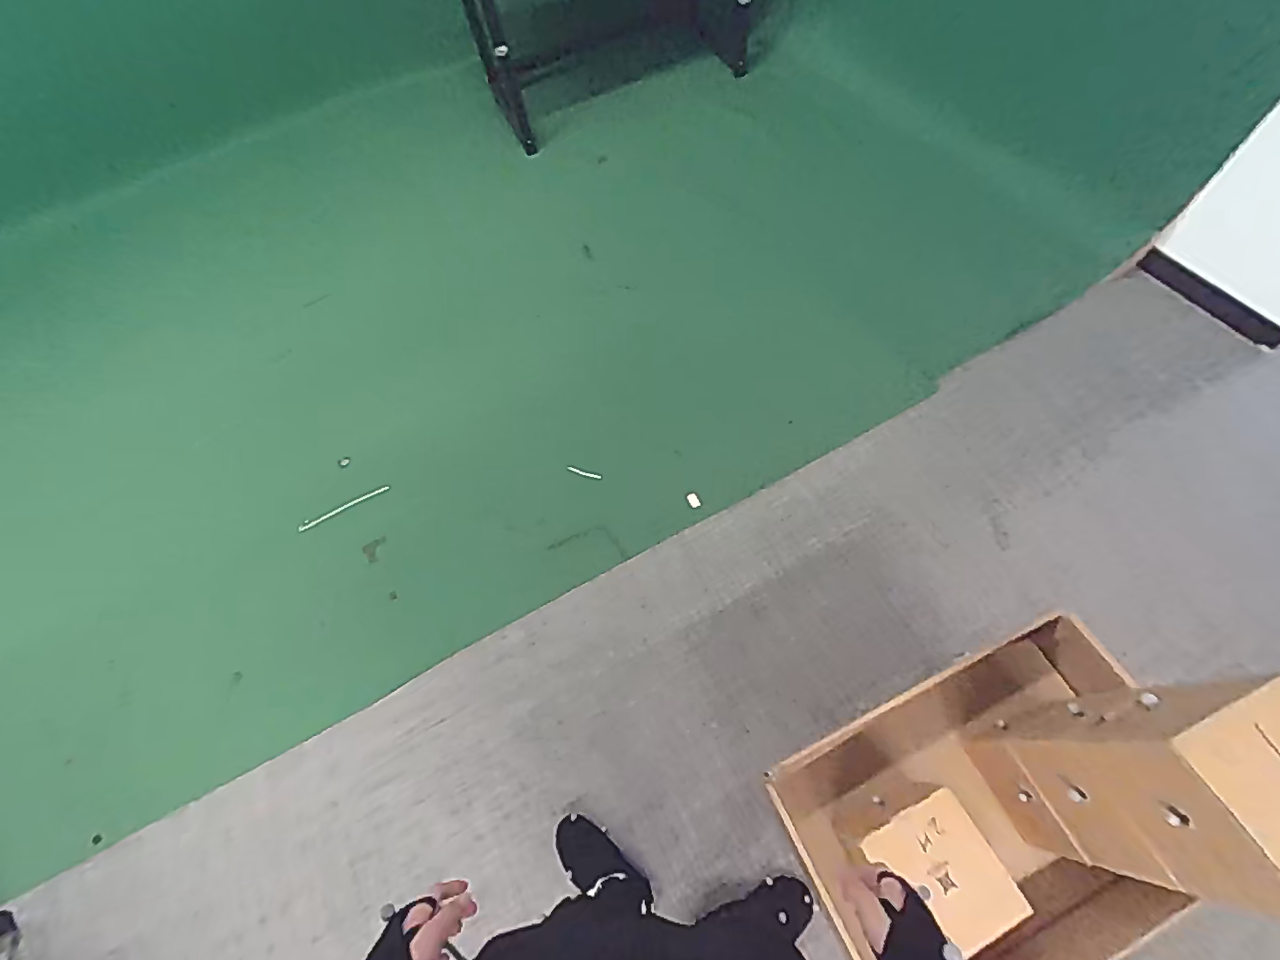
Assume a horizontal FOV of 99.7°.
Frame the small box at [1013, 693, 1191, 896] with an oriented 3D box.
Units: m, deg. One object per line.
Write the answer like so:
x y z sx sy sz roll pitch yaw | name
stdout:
0.667 0.419 0.739 0.168 0.176 0.179 -24 62 -5 | small box

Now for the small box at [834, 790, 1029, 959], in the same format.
0.435 0.611 0.841 0.168 0.176 0.179 -25 64 -9 | small box

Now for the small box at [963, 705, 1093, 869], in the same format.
0.678 0.493 0.885 0.168 0.176 0.179 -22 64 -6 | small box

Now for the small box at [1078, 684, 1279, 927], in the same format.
0.653 0.345 0.592 0.168 0.176 0.179 -24 63 -6 | small box
